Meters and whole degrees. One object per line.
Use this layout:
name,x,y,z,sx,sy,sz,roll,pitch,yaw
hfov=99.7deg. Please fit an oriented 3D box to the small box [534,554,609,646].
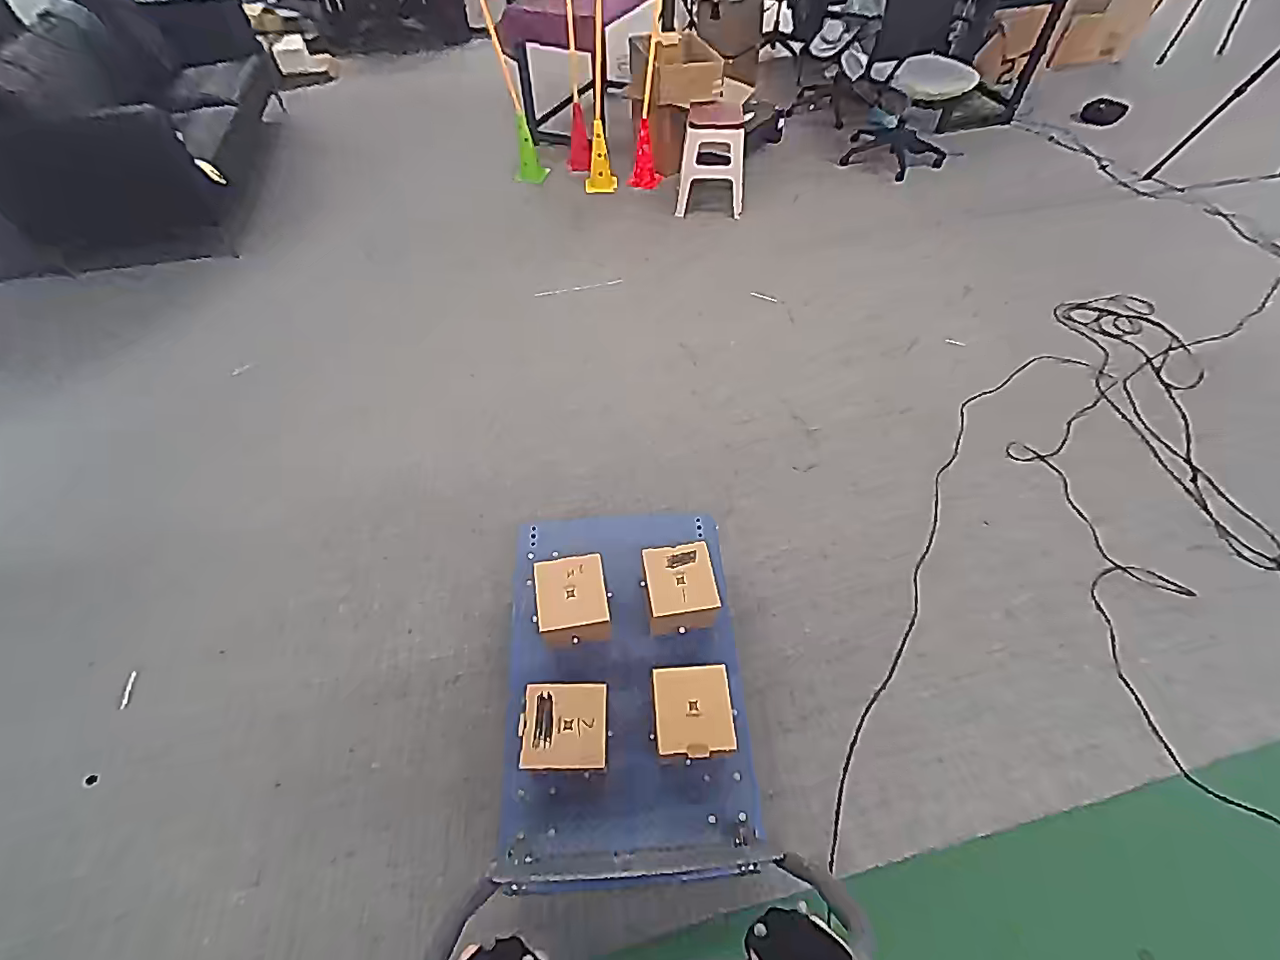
small box,-0.170,0.308,1.358,0.168,0.176,0.179,-7,58,-7

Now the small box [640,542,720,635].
small box,0.095,0.280,1.385,0.168,0.176,0.179,-7,59,-6

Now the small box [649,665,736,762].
small box,0.111,0.533,1.230,0.168,0.176,0.179,-3,59,-4
